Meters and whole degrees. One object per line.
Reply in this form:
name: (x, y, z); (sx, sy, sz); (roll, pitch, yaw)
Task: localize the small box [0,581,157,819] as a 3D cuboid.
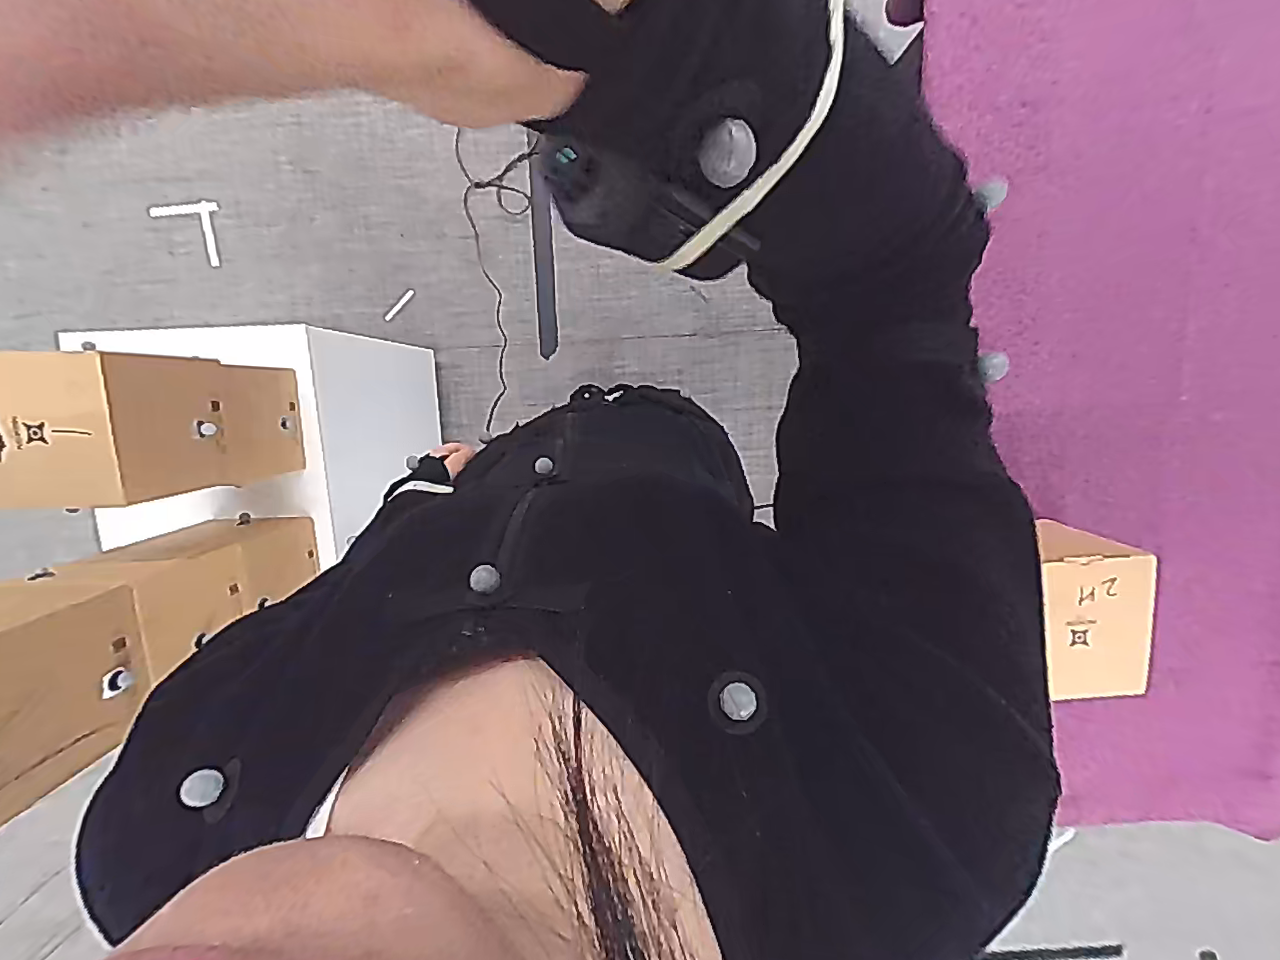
small box: (-0.630, 0.205, 0.517); (0.179, 0.176, 0.168); (-3, 100, 0)

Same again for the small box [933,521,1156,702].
small box: (0.507, 0.161, 0.705); (0.168, 0.176, 0.179); (-4, 99, 0)

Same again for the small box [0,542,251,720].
small box: (-0.628, 0.180, 0.677); (0.179, 0.176, 0.168); (-3, 99, 1)

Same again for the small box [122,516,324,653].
small box: (-0.630, 0.154, 0.838); (0.179, 0.176, 0.168); (-1, 99, 1)

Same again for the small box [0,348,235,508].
small box: (-0.628, -0.065, 0.634); (0.179, 0.176, 0.168); (0, 100, -1)
